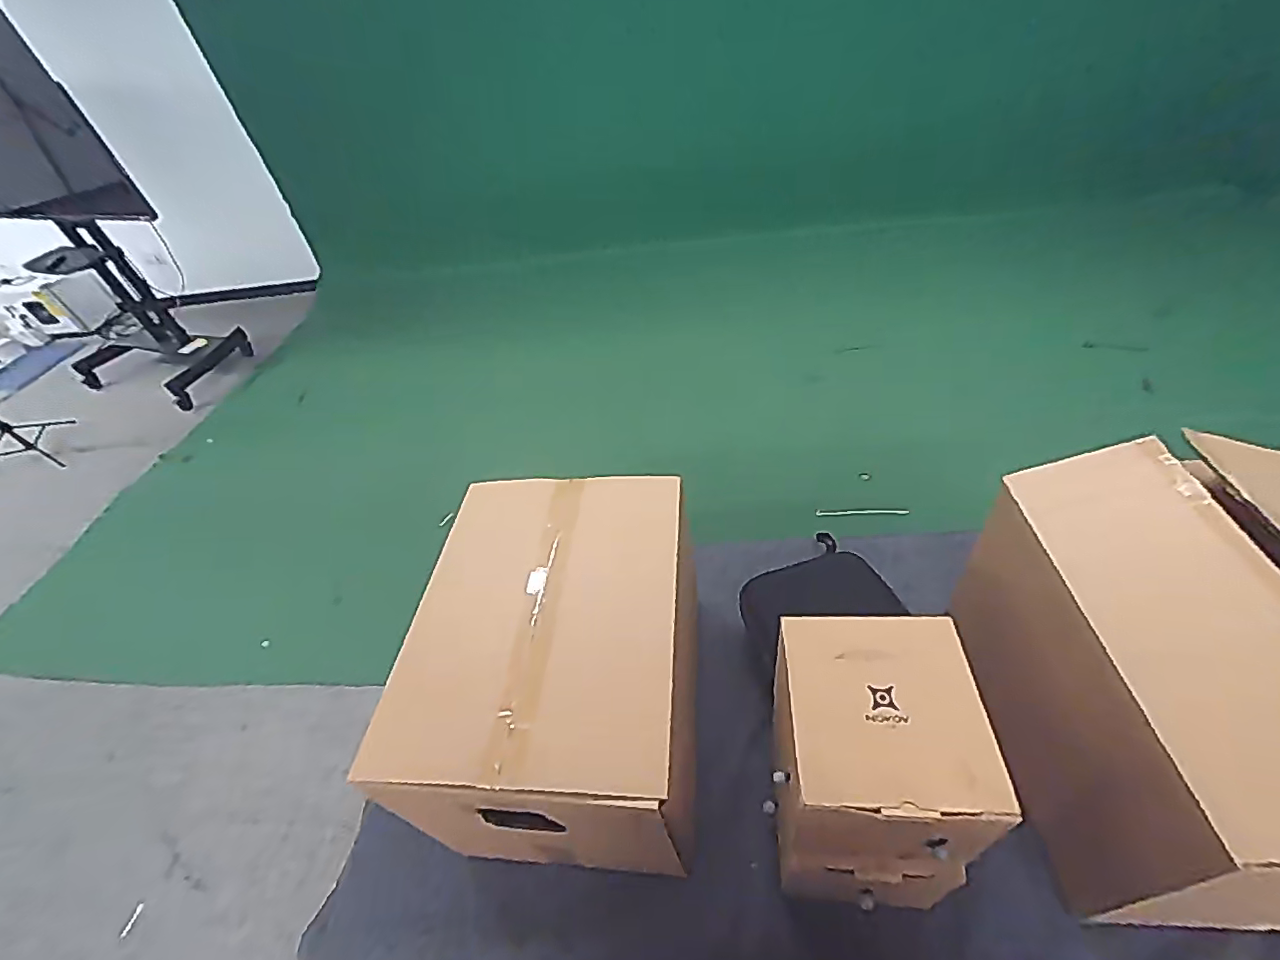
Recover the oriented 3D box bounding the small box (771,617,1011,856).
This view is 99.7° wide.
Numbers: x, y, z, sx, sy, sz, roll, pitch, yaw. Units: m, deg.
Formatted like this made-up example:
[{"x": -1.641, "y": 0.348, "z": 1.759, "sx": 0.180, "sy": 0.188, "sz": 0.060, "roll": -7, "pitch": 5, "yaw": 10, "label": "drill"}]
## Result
[{"x": 0.226, "y": 0.258, "z": 0.545, "sx": 0.168, "sy": 0.176, "sz": 0.179, "roll": -2, "pitch": 44, "yaw": 7, "label": "small box"}]
